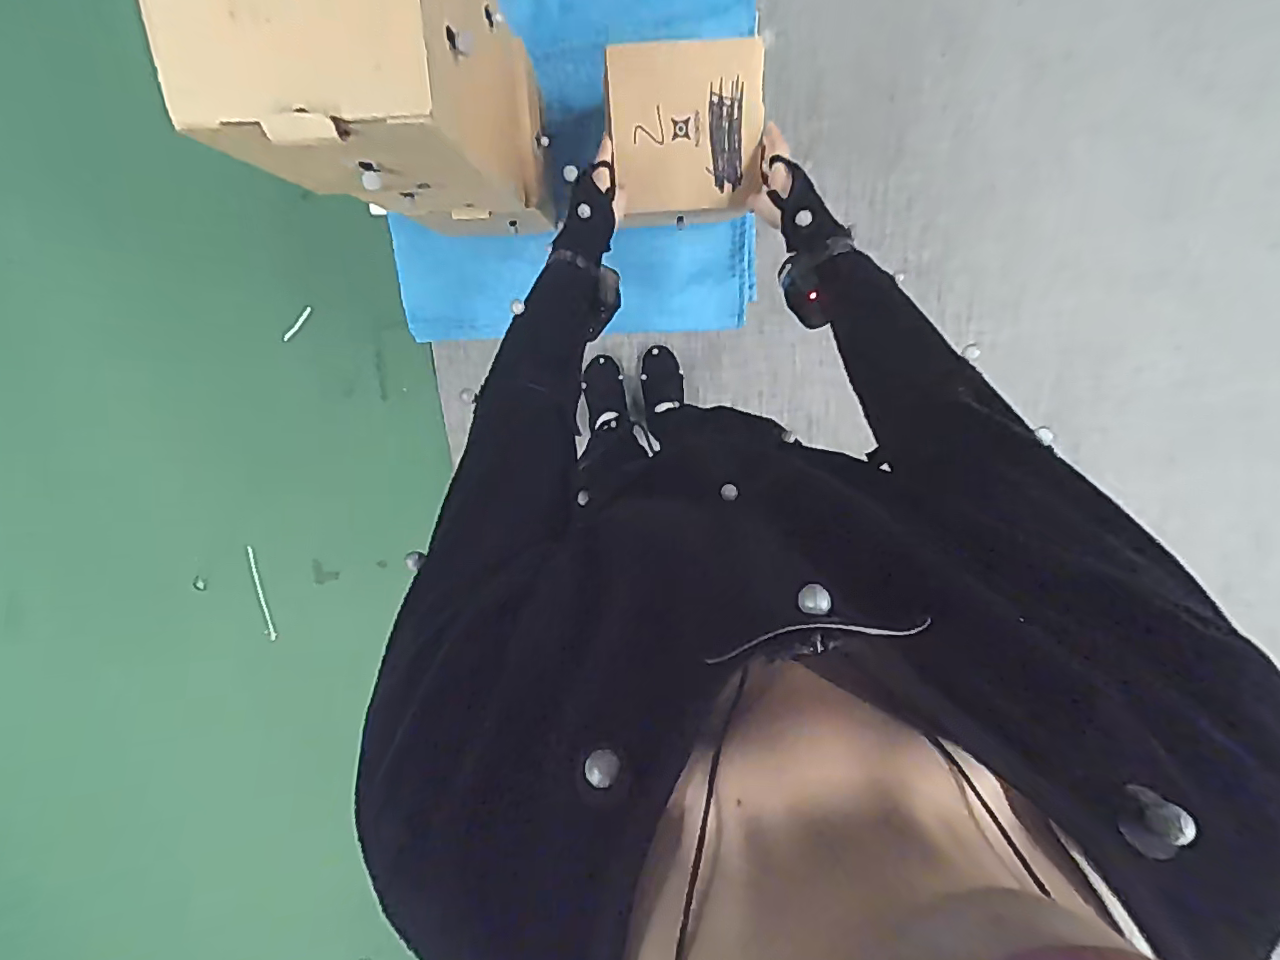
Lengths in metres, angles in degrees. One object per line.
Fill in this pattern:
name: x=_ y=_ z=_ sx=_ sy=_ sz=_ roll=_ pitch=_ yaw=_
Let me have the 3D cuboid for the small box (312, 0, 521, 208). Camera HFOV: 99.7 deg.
small box: x=-0.218 y=-0.381 z=0.538 sx=0.168 sy=0.176 sz=0.179 roll=0 pitch=105 yaw=-1

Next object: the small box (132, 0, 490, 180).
small box: x=-0.211 y=-0.326 z=0.383 sx=0.168 sy=0.176 sz=0.179 roll=-1 pitch=105 yaw=-1

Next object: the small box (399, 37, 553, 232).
small box: x=-0.207 y=-0.424 z=0.695 sx=0.168 sy=0.176 sz=0.179 roll=-2 pitch=104 yaw=-1
